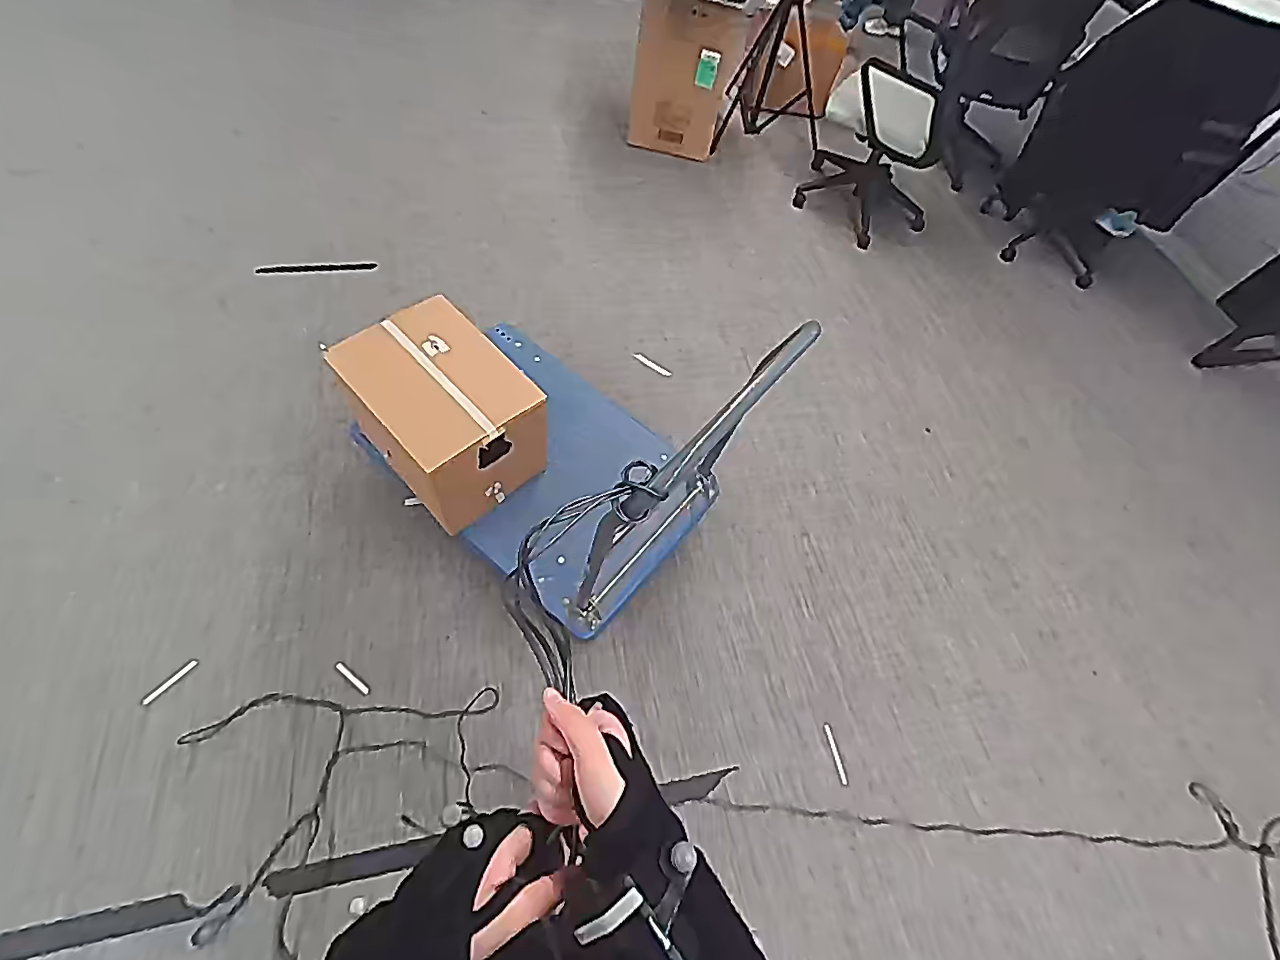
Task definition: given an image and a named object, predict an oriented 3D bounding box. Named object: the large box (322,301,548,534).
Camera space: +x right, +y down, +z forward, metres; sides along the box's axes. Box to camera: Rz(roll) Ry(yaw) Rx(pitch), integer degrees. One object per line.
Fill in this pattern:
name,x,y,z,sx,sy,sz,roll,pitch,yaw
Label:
large box,-0.469,-0.148,1.319,0.320,0.320,0.408,-38,72,-27
